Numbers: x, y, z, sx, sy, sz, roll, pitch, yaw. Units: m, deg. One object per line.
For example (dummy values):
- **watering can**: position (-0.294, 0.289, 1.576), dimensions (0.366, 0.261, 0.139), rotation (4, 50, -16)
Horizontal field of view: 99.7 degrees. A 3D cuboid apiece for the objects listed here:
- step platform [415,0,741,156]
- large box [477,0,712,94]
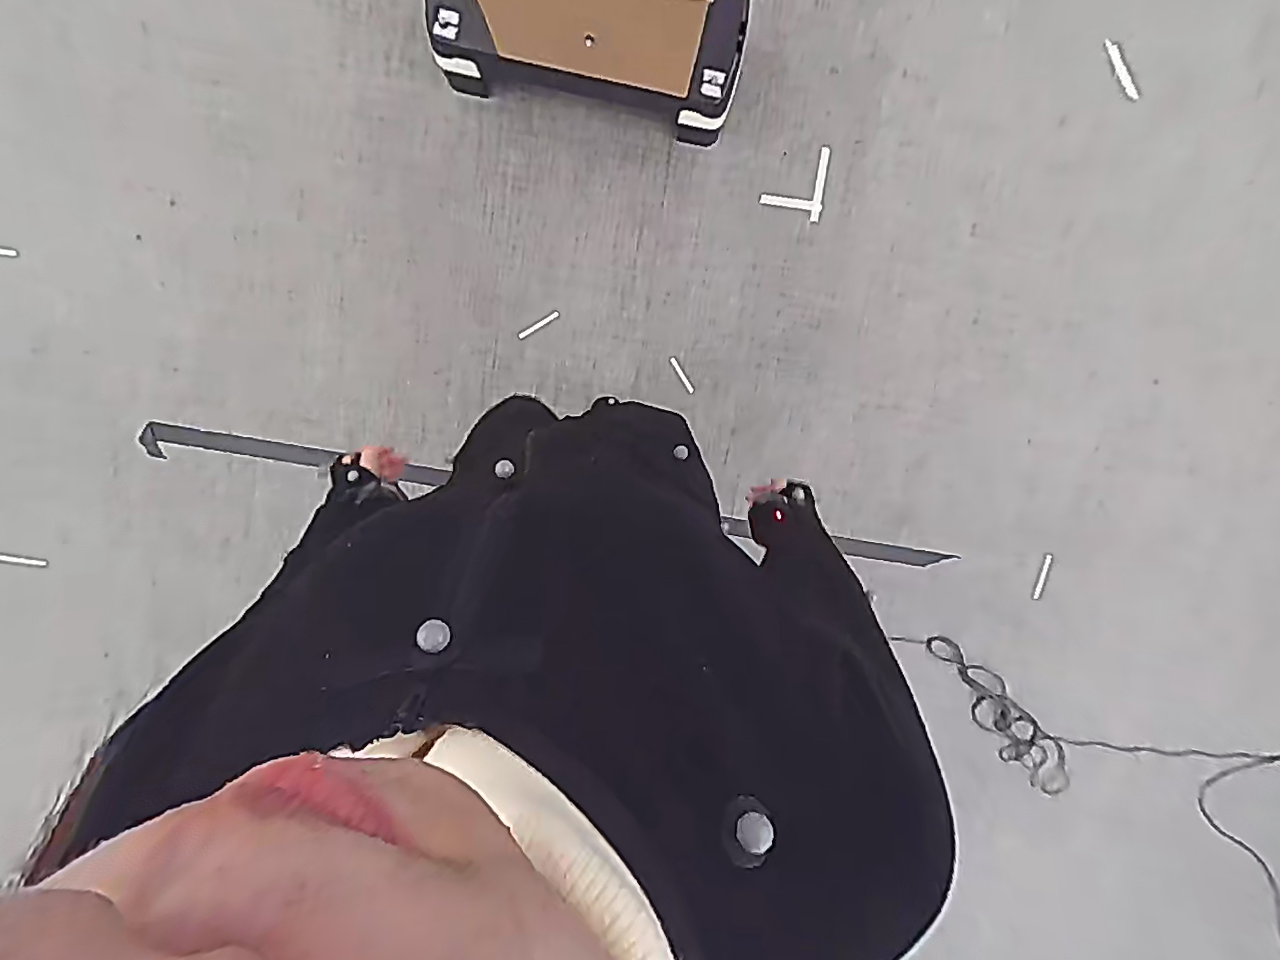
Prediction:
- **step platform**: position (-0.127, -0.990, 1.195), dimensions (0.684, 0.204, 0.286), rotation (15, 100, -4)
- **large box**: position (-0.063, -0.955, 0.960), dimensions (0.408, 0.320, 0.320), rotation (9, 100, -3)
